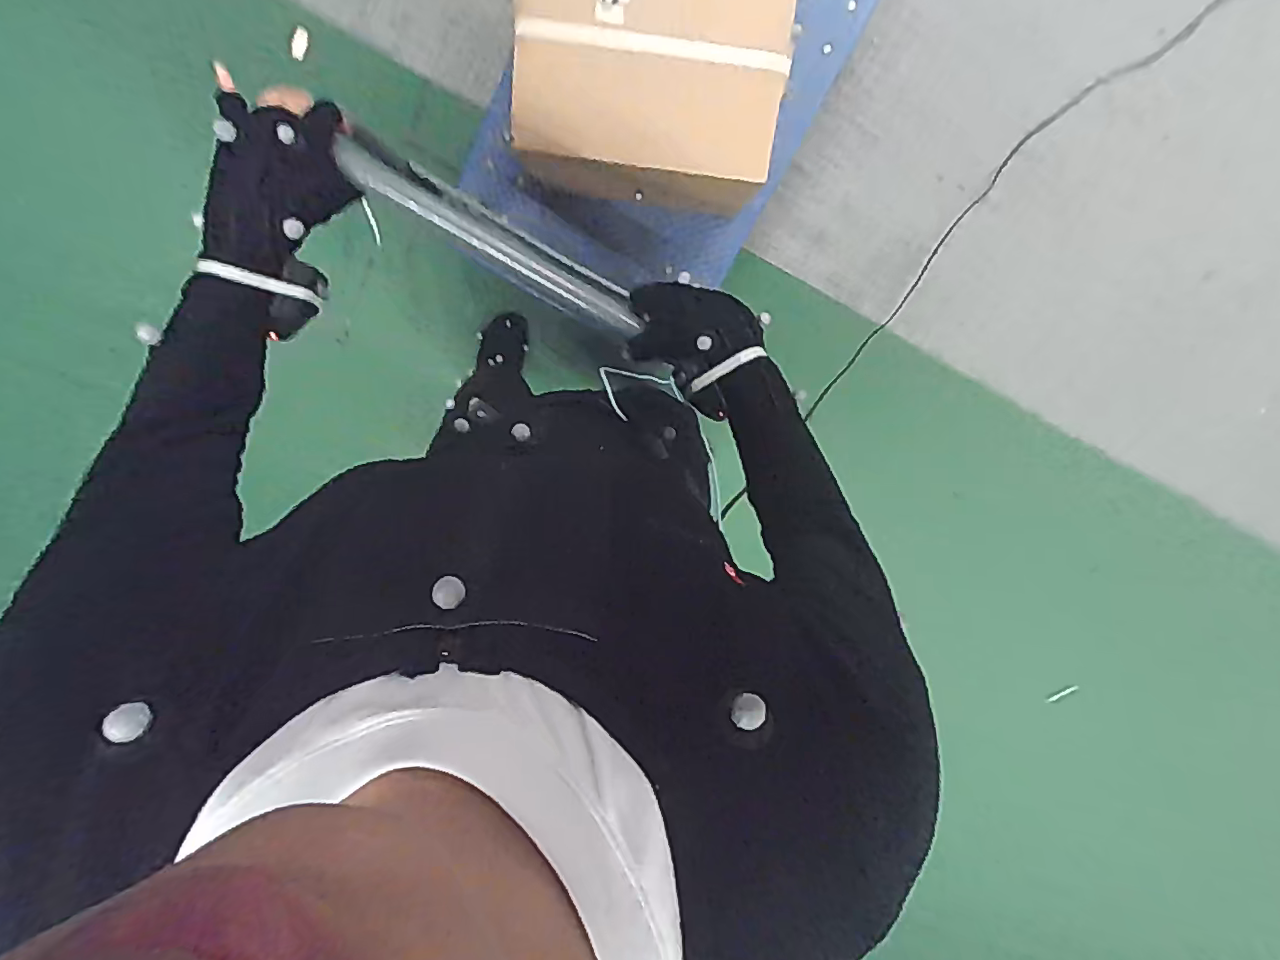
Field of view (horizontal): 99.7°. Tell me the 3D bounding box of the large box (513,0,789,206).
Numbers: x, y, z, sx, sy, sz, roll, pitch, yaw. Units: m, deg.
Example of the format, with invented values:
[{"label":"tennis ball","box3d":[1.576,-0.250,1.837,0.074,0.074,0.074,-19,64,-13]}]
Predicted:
[{"label":"large box","box3d":[0.016,-0.686,0.943,0.408,0.320,0.320,6,107,-1]}]
